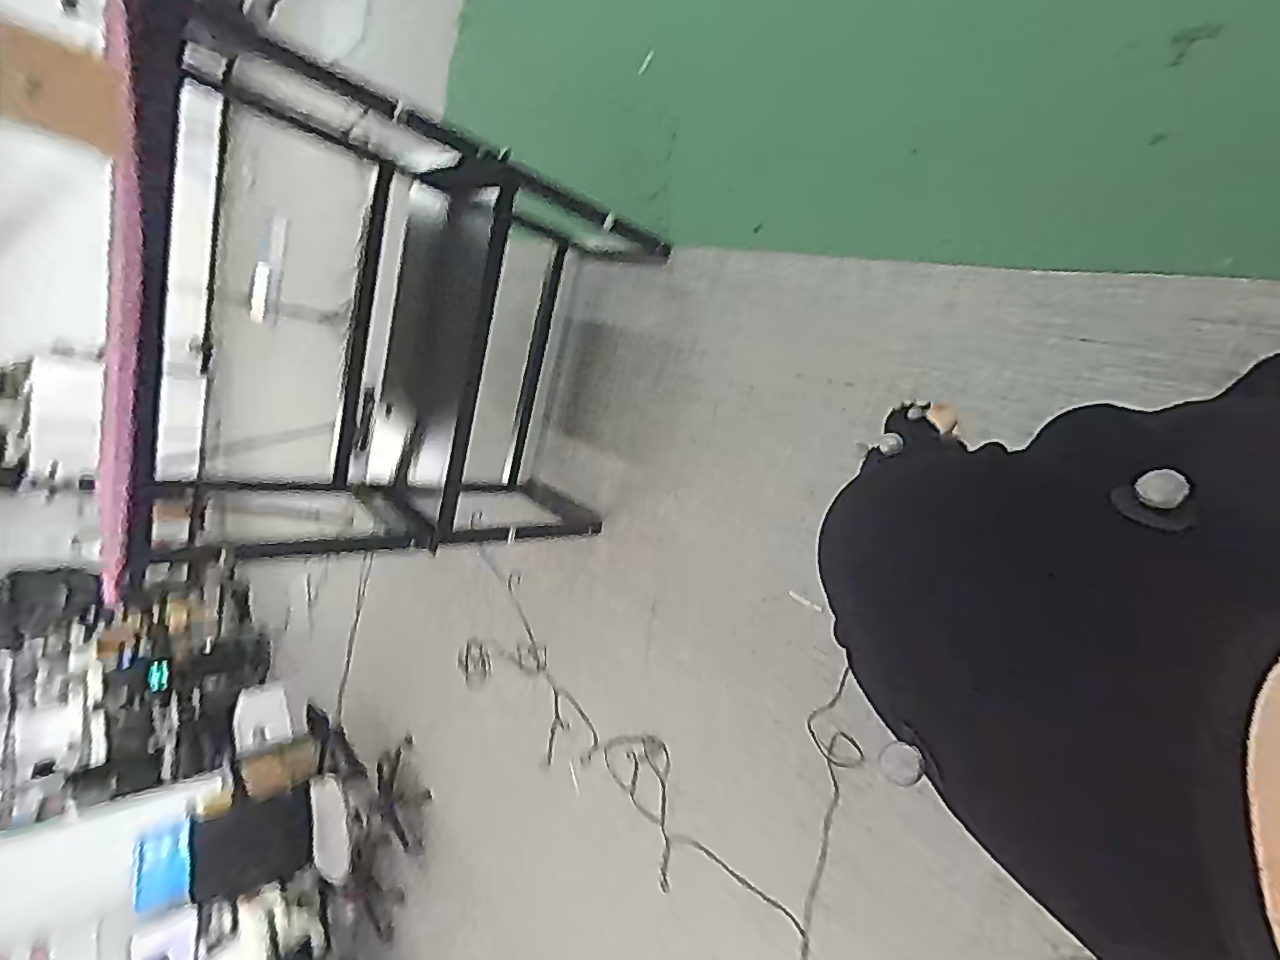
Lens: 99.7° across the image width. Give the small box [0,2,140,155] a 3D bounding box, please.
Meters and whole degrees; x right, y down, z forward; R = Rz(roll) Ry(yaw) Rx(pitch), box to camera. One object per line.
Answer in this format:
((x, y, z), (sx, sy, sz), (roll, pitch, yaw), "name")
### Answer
((-1.067, -0.742, 1.023), (0.168, 0.176, 0.179), (34, 112, 41), "small box")
